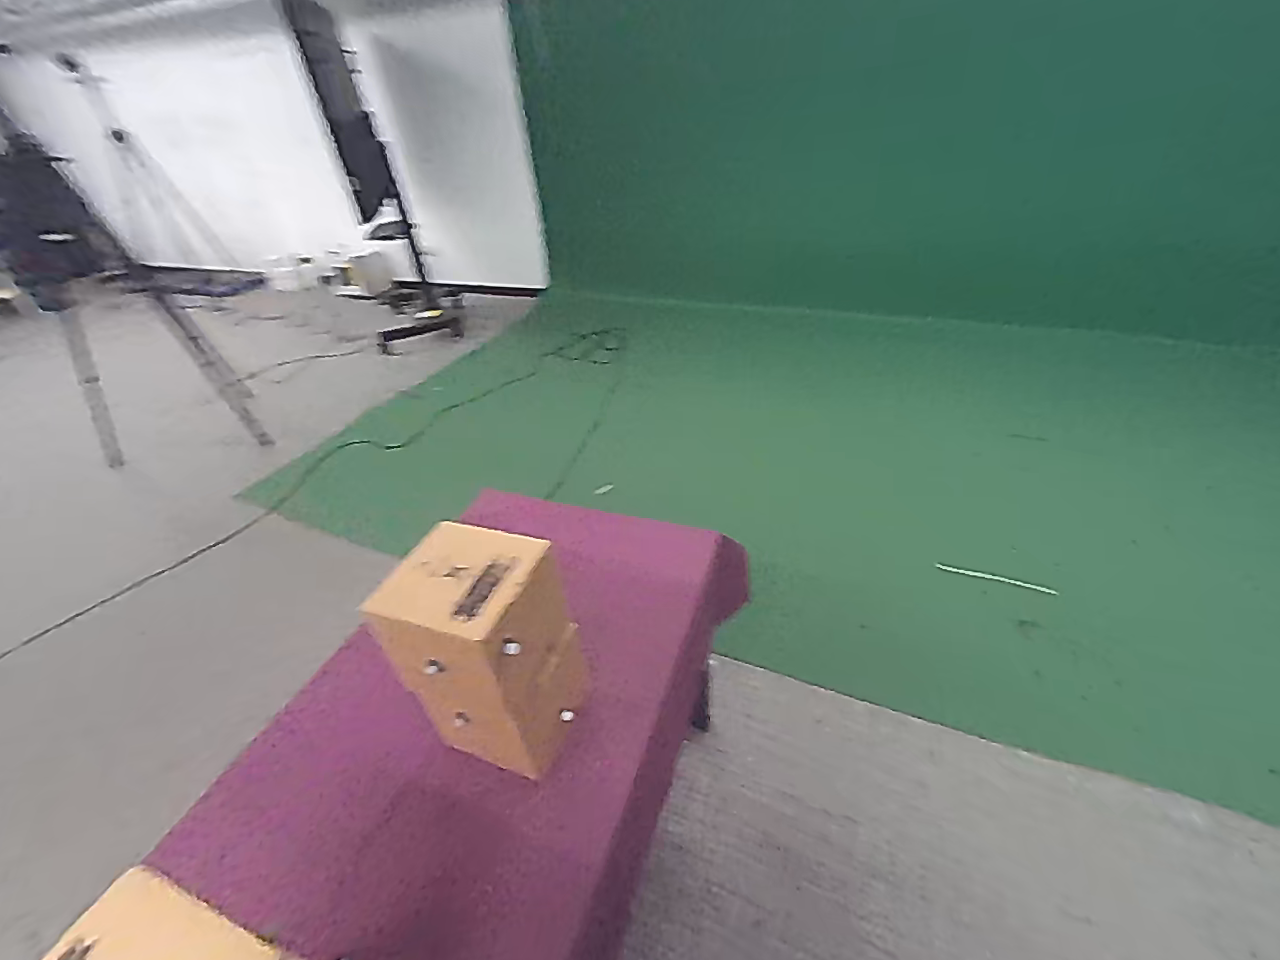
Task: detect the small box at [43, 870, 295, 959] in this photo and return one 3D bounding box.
[{"bbox_3d":[-0.352,0.437,0.397,0.179,0.176,0.168,10,39,19],"label":"small box"}]

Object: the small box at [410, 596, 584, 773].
[{"bbox_3d":[-0.204,0.309,0.820,0.179,0.176,0.168,10,40,20],"label":"small box"}]
